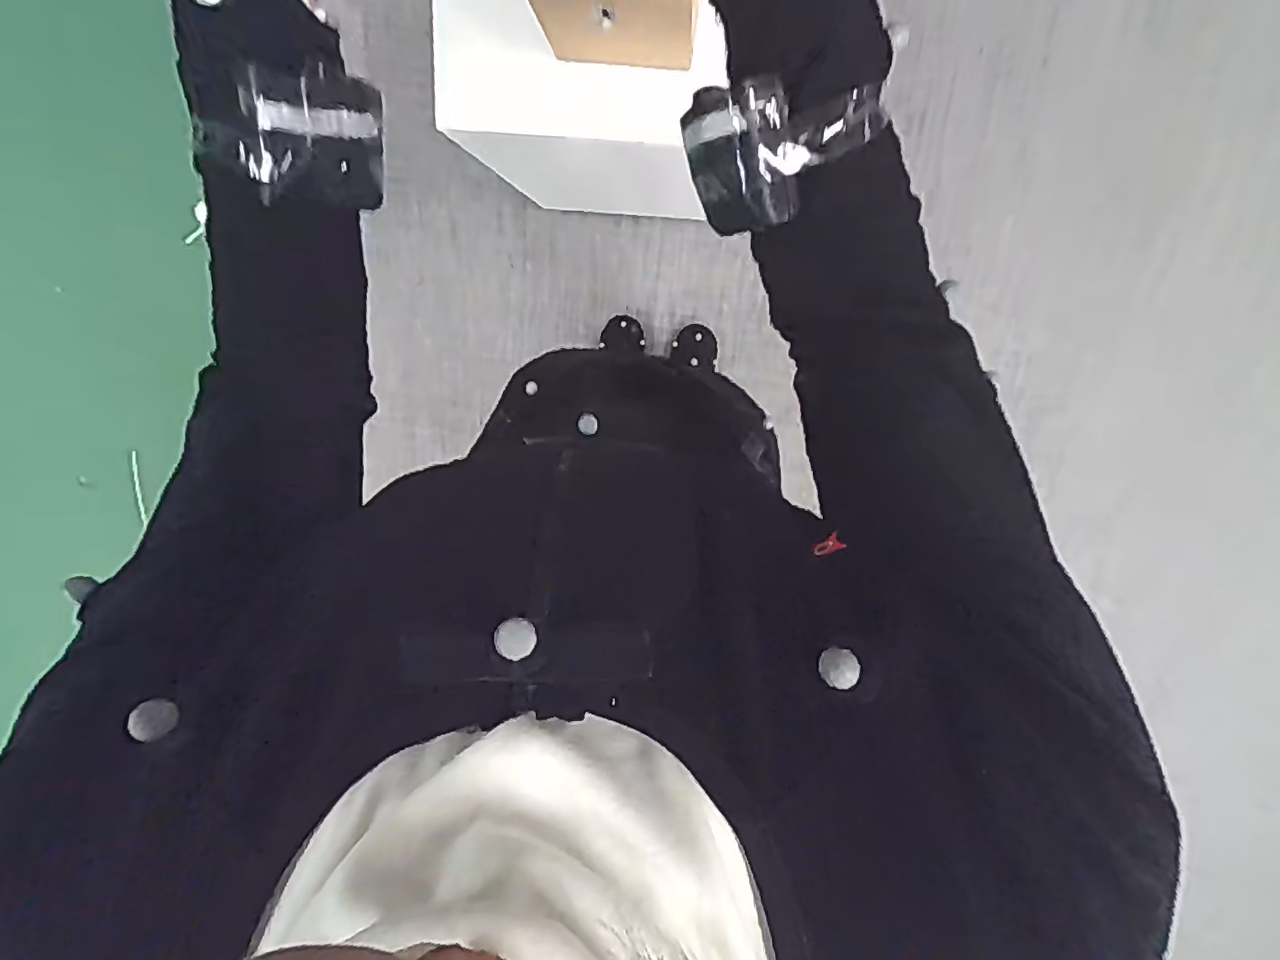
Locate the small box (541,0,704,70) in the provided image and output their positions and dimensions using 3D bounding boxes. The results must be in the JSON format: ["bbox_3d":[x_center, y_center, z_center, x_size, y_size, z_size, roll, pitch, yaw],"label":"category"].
[{"bbox_3d":[-0.015,-0.581,0.589,0.179,0.176,0.168,7,108,3],"label":"small box"}]

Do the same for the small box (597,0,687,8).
[{"bbox_3d":[-0.026,-0.535,0.436,0.168,0.176,0.179,6,108,3],"label":"small box"}]
